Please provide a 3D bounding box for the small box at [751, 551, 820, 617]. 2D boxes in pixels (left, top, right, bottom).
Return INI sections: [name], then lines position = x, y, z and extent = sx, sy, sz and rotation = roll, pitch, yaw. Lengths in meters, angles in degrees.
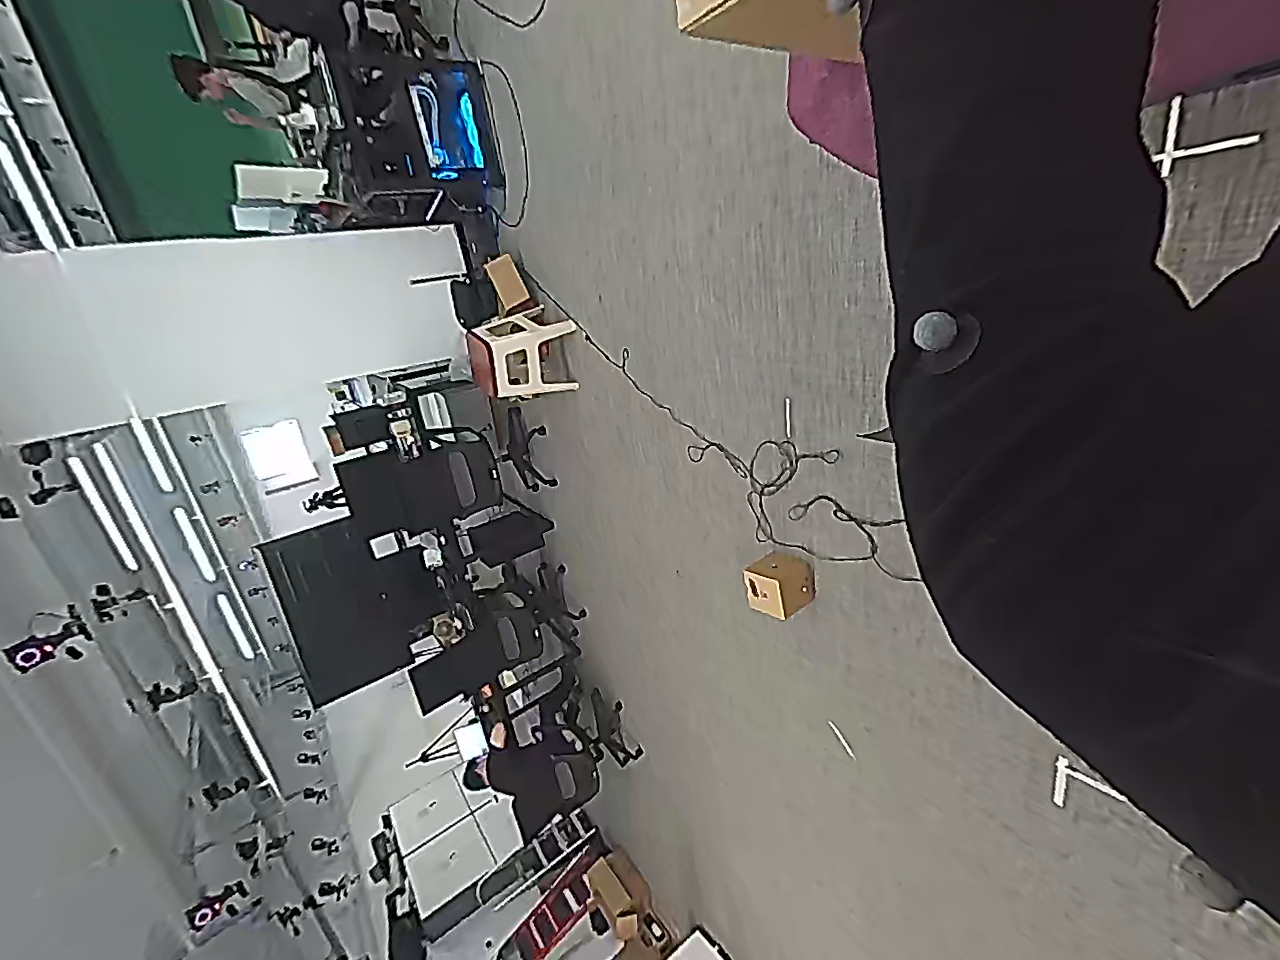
[small box]
position = 0.548, 0.384, 2.034
extent = 0.179, 0.176, 0.168
rotation = 10, 119, 55
